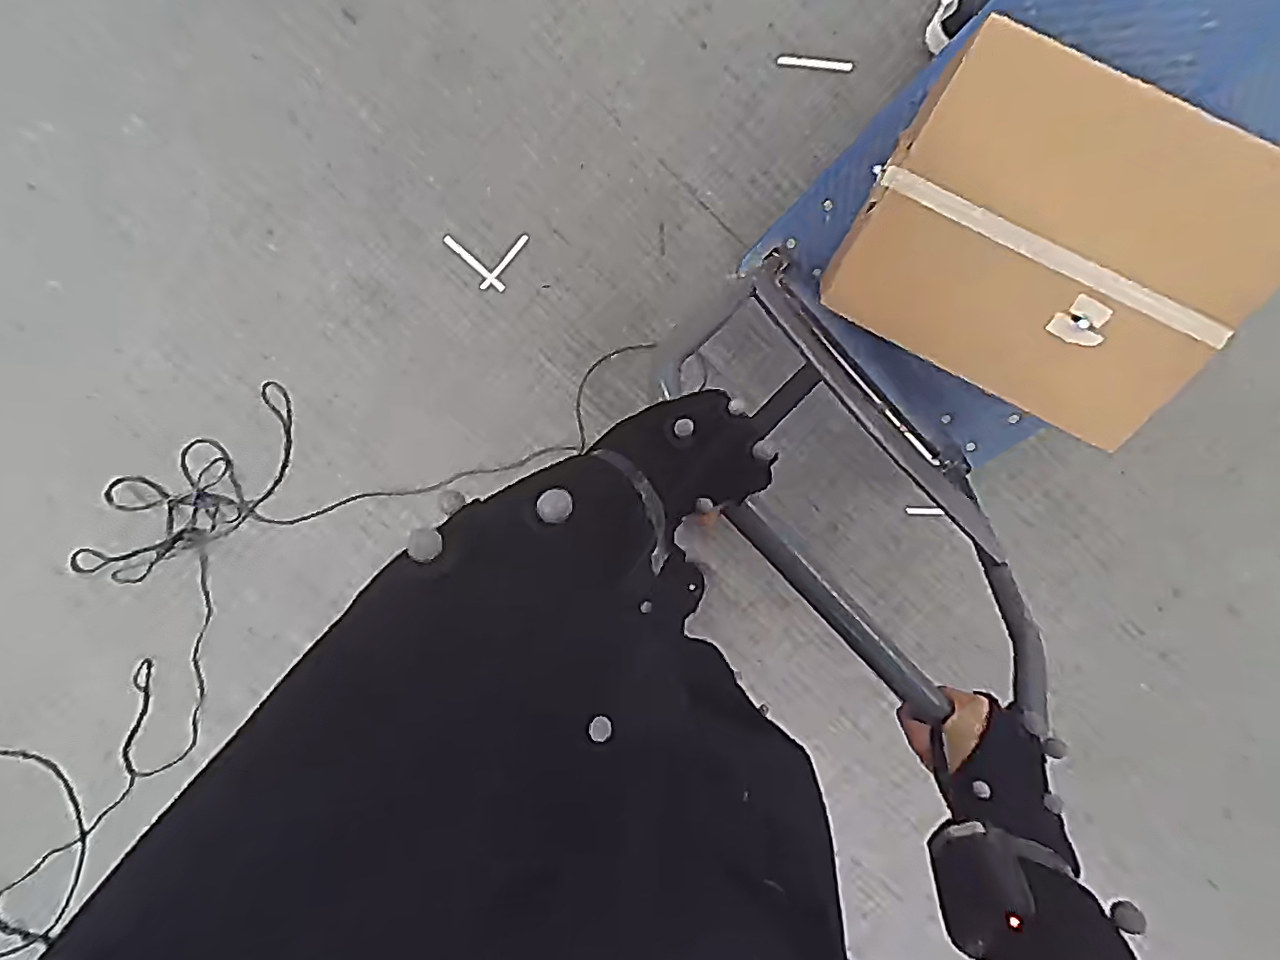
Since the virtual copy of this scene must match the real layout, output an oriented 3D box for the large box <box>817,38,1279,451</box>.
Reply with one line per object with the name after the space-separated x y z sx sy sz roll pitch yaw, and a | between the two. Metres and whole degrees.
0.502 -0.303 0.743 0.408 0.320 0.320 28 119 3 | large box
